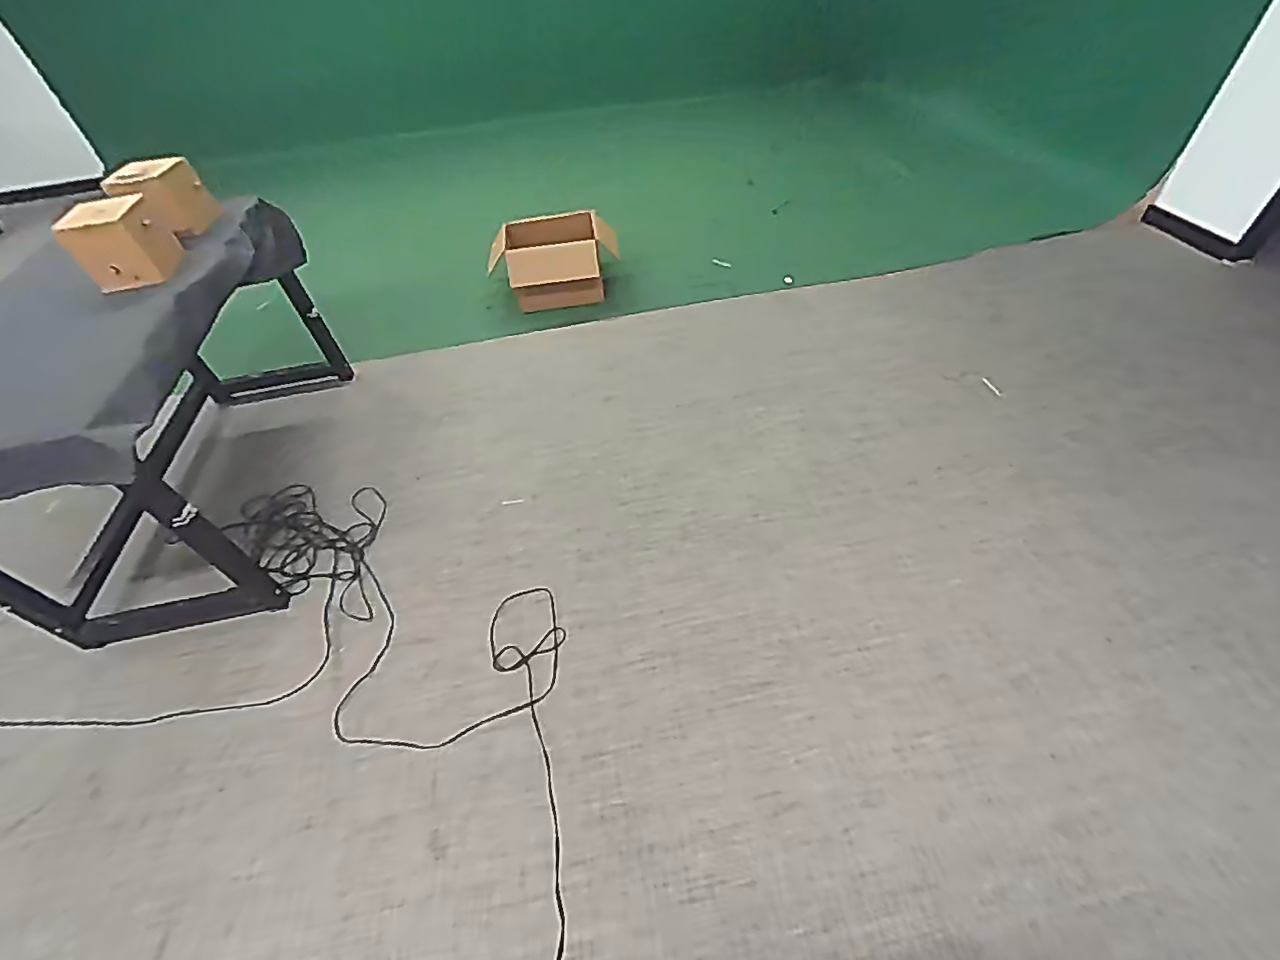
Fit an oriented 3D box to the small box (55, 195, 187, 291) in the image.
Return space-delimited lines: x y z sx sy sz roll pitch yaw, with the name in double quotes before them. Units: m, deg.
"small box" -1.367 -0.632 1.444 0.168 0.176 0.179 -13 49 -5
